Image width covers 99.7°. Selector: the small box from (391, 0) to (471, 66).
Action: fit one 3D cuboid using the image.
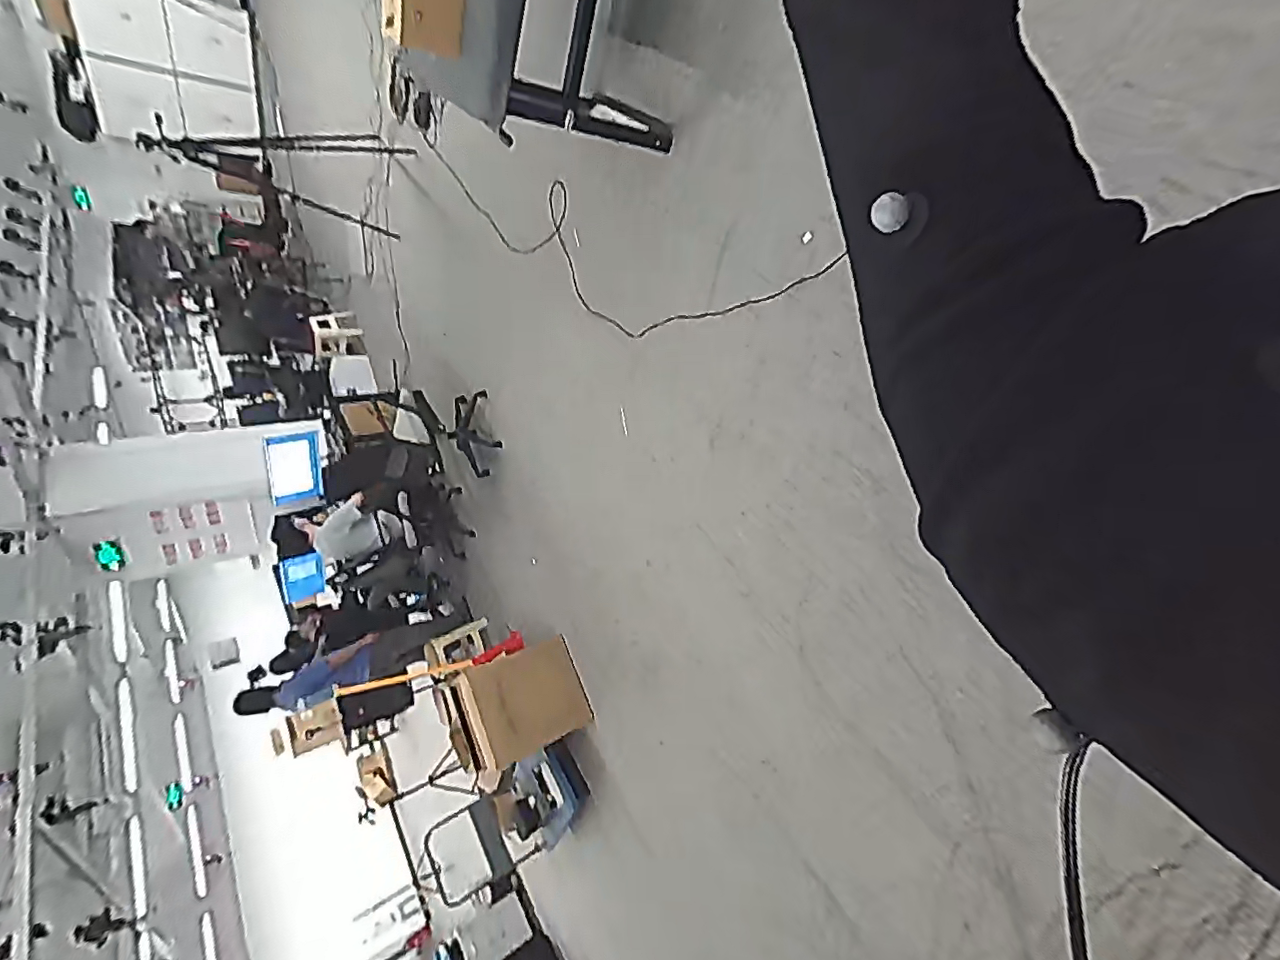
[{"bbox_3d":[-0.593,-1.312,1.535,0.168,0.176,0.179,46,132,34],"label":"small box"}]
